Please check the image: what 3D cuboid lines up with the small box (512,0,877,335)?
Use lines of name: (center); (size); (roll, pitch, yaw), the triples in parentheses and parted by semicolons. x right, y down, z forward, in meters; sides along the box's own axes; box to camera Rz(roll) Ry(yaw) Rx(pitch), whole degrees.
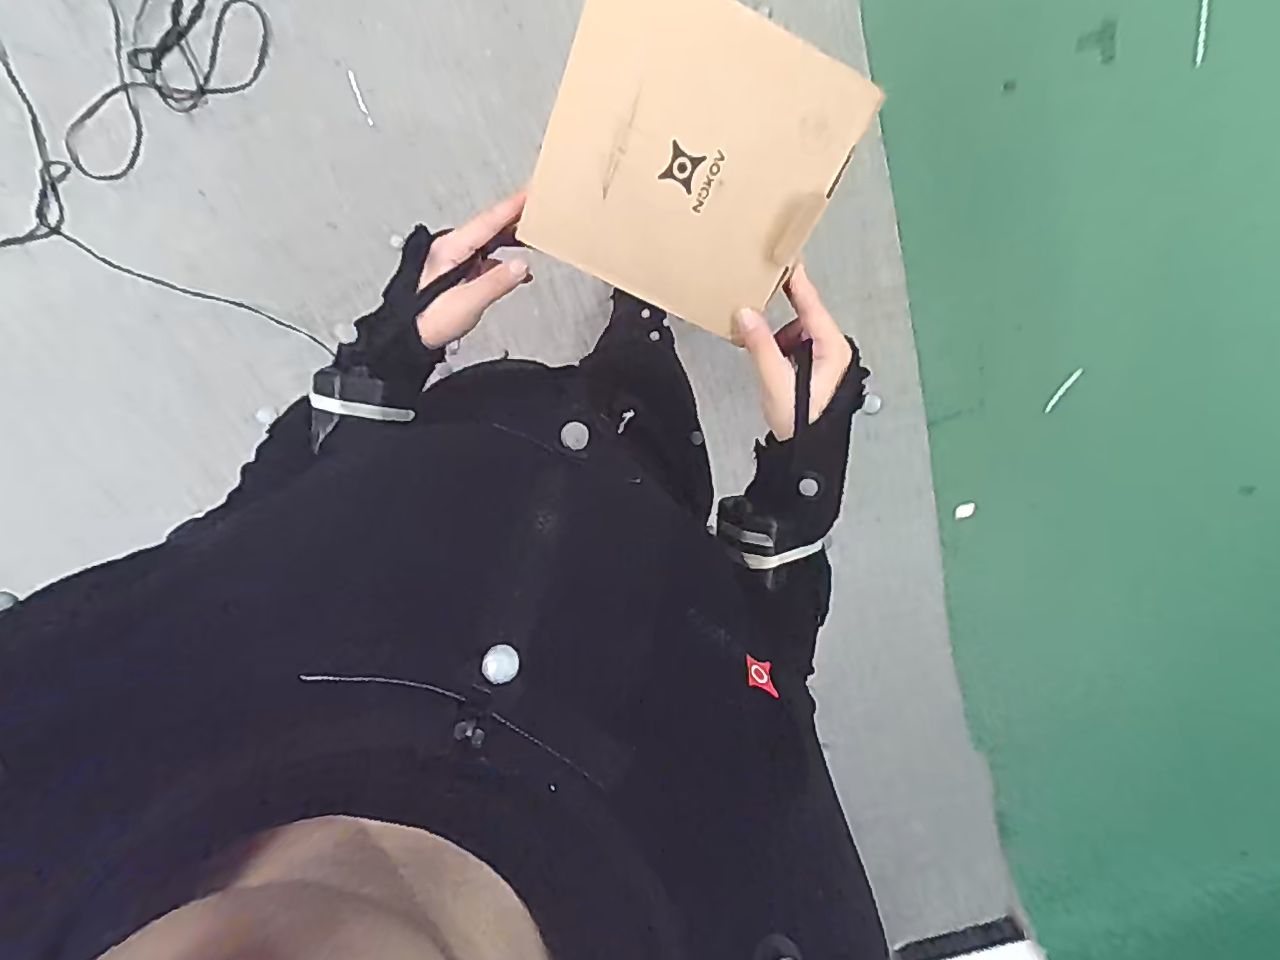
small box: (0.031, -0.234, 0.400); (0.179, 0.176, 0.168); (22, 118, -7)
